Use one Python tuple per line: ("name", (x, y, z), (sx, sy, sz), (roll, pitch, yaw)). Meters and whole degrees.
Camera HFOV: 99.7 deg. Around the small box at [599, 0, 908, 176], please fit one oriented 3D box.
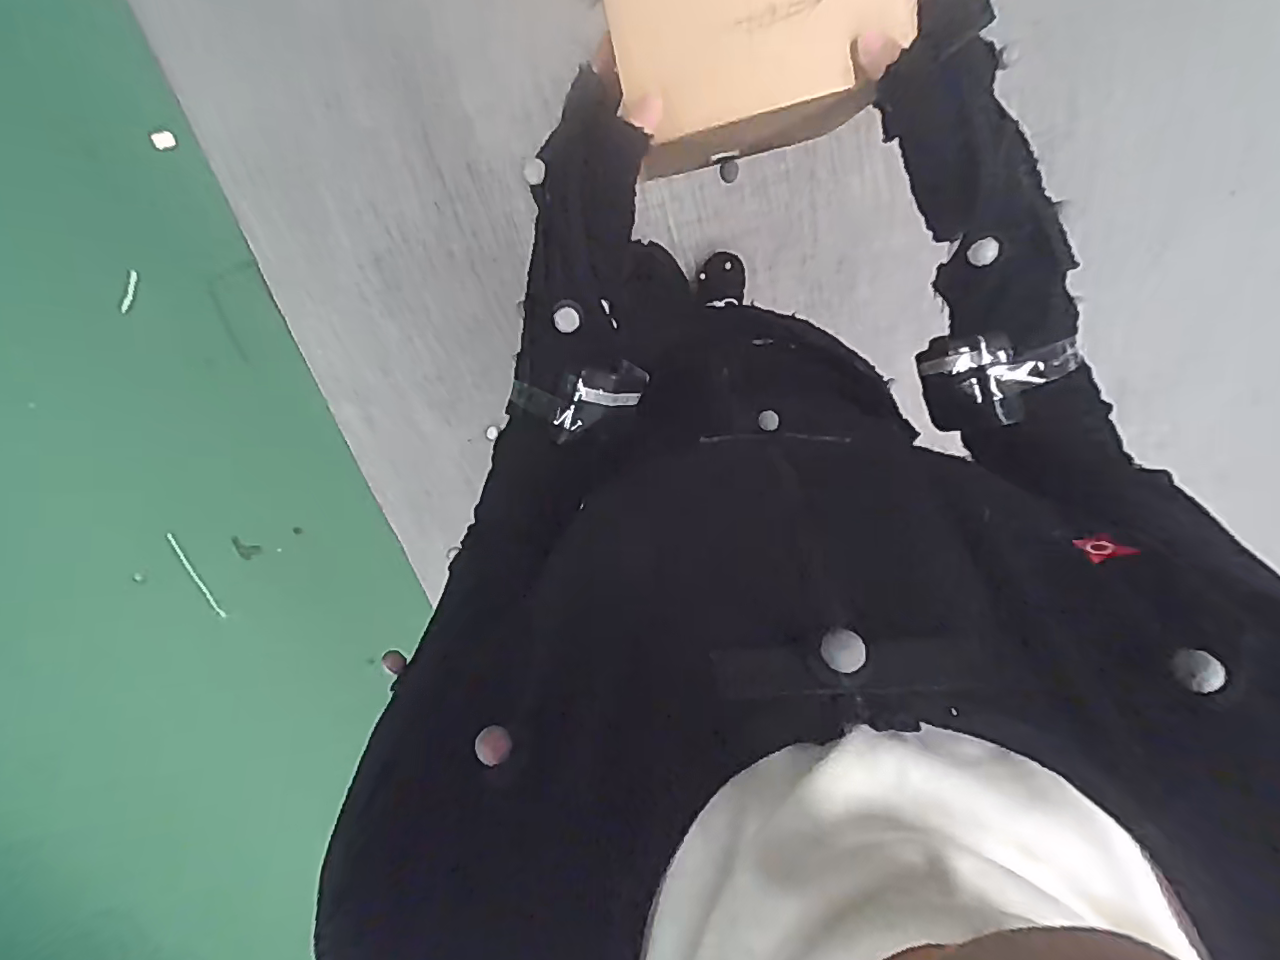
("small box", (0.056, -0.330, 0.361), (0.168, 0.176, 0.179), (-12, 111, 7))
